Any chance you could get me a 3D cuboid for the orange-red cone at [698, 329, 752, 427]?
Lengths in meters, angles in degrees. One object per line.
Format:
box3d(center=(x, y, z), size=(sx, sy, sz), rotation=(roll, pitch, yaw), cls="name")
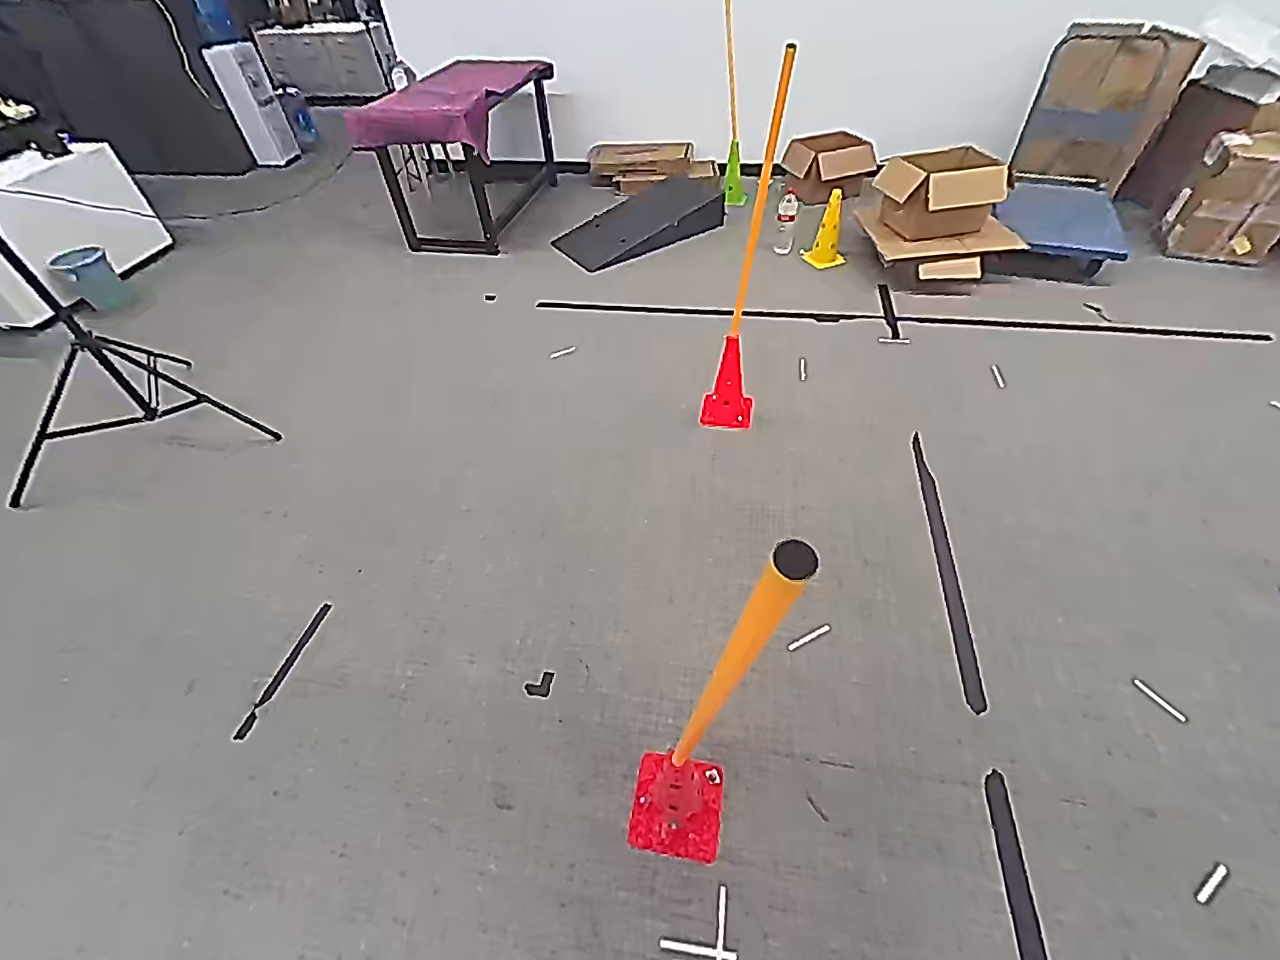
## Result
box3d(center=(0.336, -0.405, 2.041), size=(0.198, 0.360, 0.199), rotation=(9, 48, 11), cls="orange-red cone")
